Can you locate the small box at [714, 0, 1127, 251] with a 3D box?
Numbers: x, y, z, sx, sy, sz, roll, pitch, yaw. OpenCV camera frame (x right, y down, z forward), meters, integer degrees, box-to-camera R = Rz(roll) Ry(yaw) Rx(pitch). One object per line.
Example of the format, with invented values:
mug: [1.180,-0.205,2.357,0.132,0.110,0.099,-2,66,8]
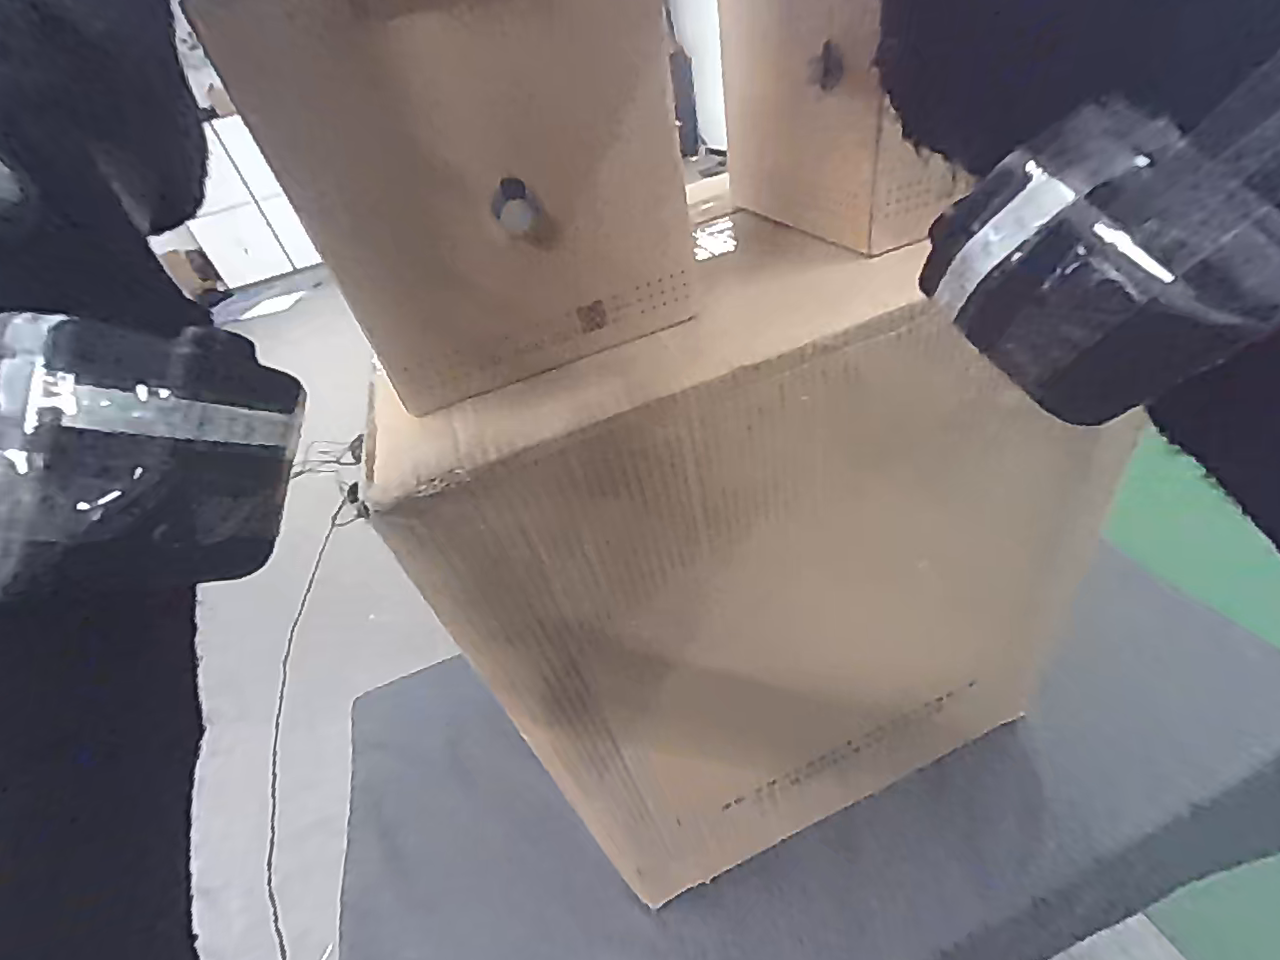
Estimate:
small box: [0.162,-0.259,0.340,0.168,0.176,0.179,-20,39,-10]
